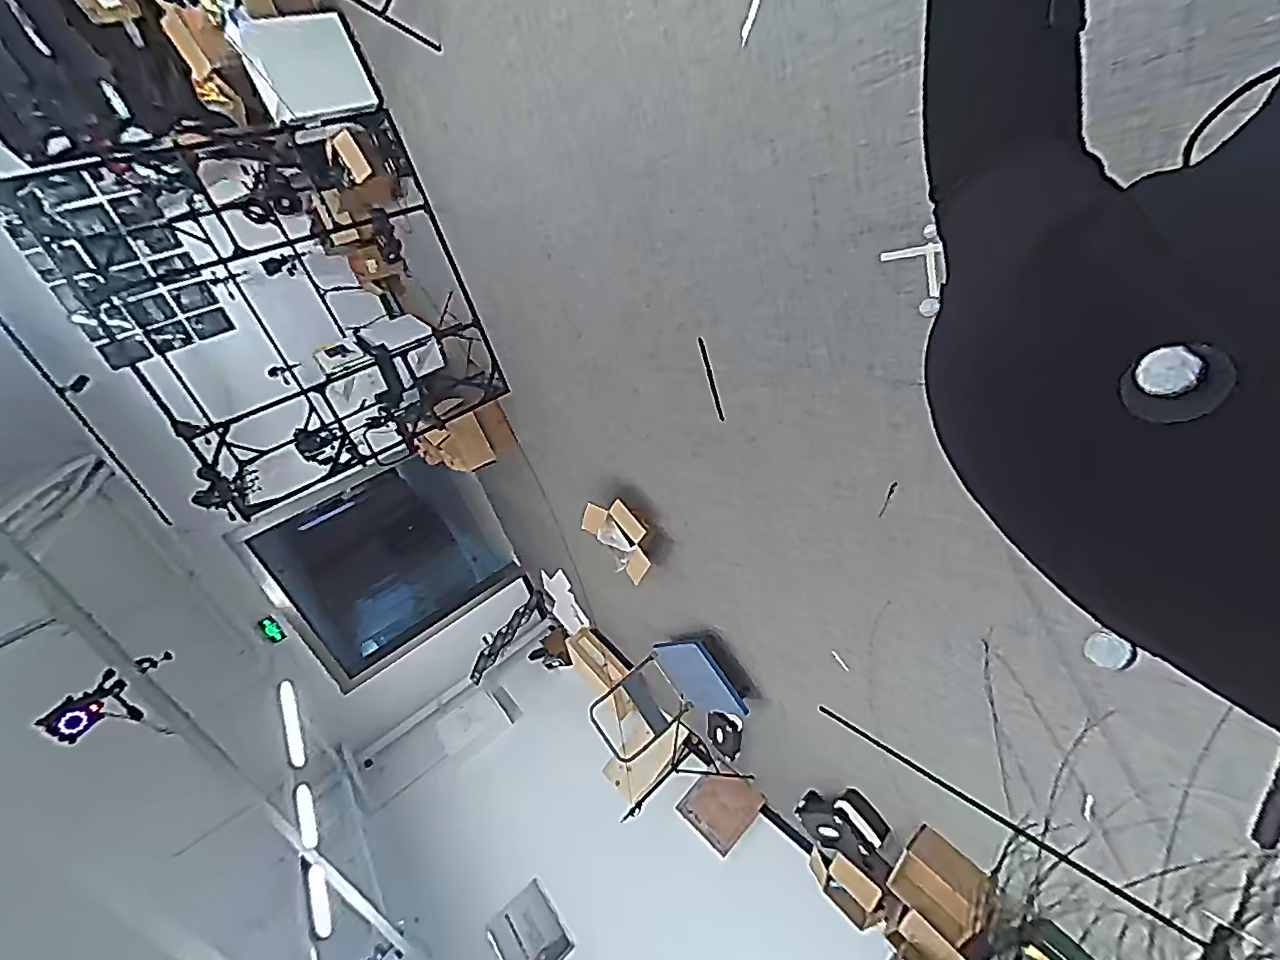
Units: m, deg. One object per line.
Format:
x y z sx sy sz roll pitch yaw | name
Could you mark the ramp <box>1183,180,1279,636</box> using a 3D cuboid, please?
1.306 -0.120 0.874 0.509 0.206 0.991 18 134 53 | ramp
